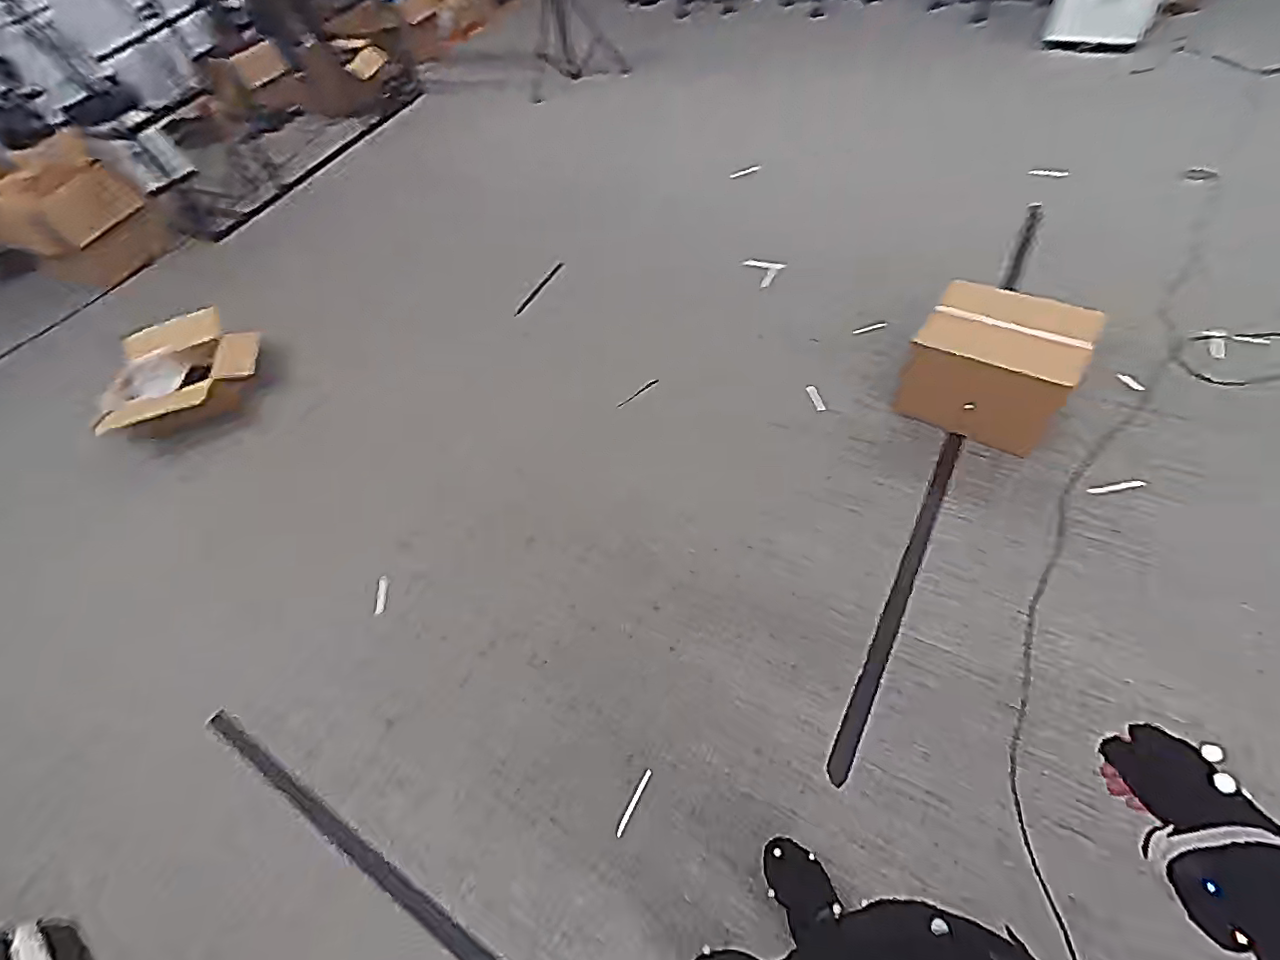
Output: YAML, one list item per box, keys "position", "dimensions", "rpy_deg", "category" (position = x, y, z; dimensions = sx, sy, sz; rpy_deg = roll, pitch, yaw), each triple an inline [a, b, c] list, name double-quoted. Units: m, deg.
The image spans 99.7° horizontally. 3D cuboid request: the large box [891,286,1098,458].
- position: [1.045, -0.329, 1.642]
  dimensions: [0.408, 0.320, 0.320]
  rpy_deg: [28, 66, 27]
  category: "large box"
